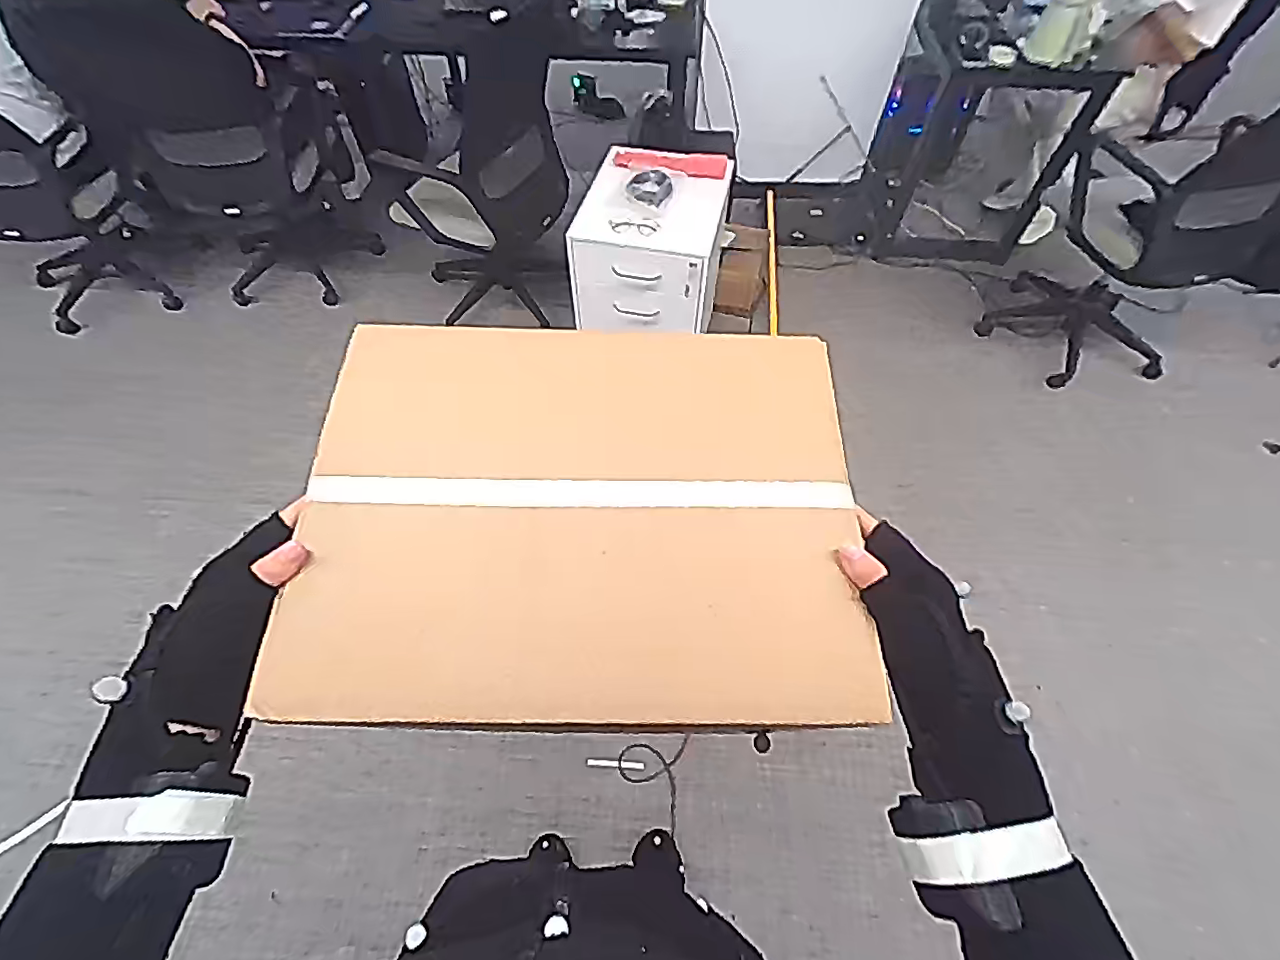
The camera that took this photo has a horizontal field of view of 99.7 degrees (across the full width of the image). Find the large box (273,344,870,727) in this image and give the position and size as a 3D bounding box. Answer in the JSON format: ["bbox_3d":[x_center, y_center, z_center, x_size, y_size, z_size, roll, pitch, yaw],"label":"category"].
[{"bbox_3d":[-0.045,0.080,0.553,0.408,0.320,0.320,1,64,-1],"label":"large box"}]
